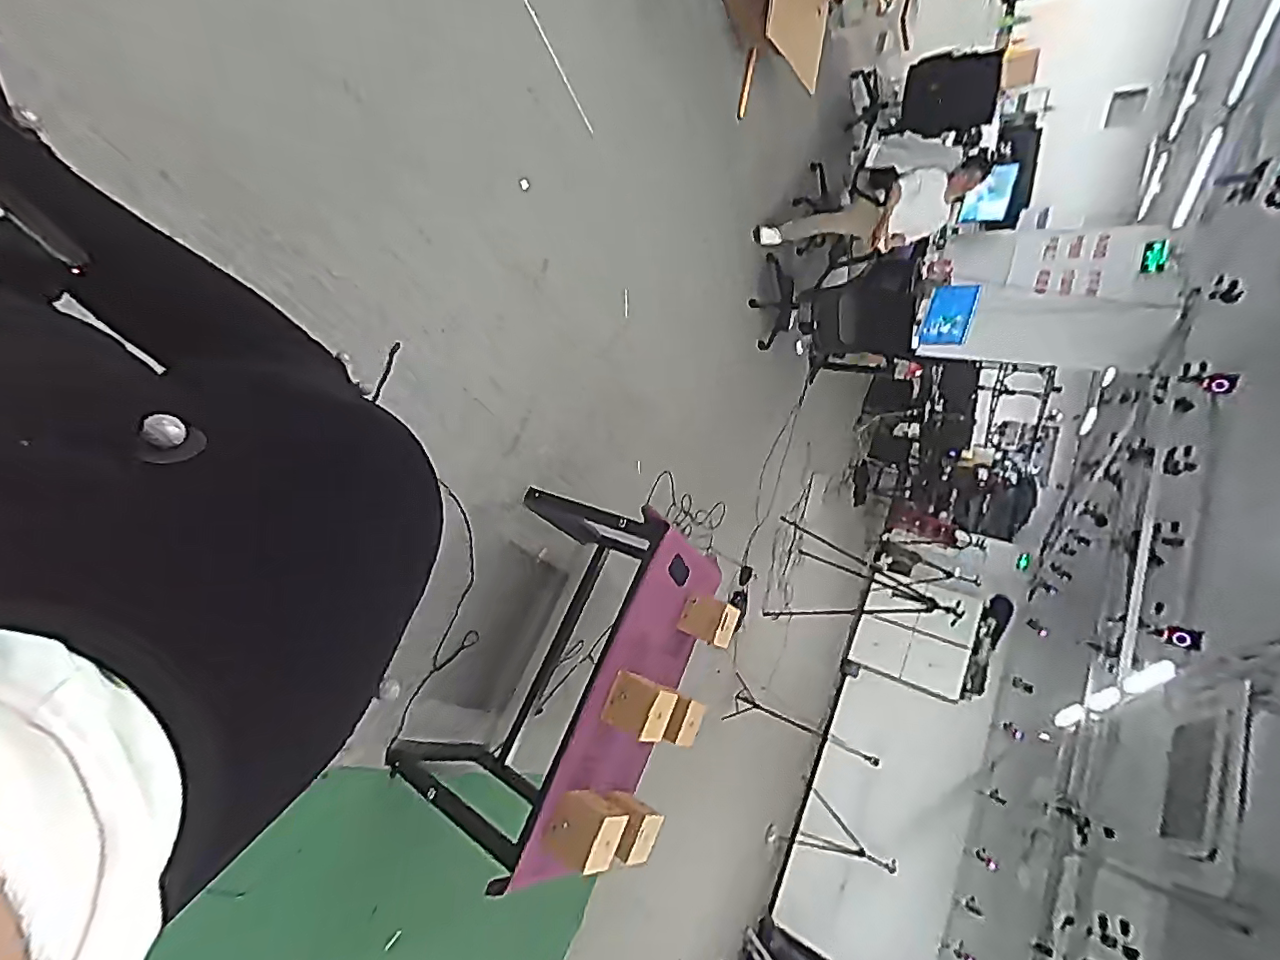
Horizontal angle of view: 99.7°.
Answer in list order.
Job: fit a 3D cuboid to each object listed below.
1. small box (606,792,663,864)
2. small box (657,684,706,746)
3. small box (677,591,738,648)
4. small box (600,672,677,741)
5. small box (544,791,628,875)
[{"bbox_3d":[-0.045,1.261,1.970,0.168,0.176,0.179,-65,146,-18],"label":"small box"},{"bbox_3d":[0.127,0.911,2.100,0.179,0.176,0.168,45,63,-52],"label":"small box"},{"bbox_3d":[0.271,0.559,2.181,0.179,0.176,0.168,41,68,-55],"label":"small box"},{"bbox_3d":[-0.005,0.771,1.846,0.179,0.176,0.168,44,65,-54],"label":"small box"},{"bbox_3d":[-0.170,1.113,1.718,0.179,0.176,0.168,50,59,-52],"label":"small box"}]
